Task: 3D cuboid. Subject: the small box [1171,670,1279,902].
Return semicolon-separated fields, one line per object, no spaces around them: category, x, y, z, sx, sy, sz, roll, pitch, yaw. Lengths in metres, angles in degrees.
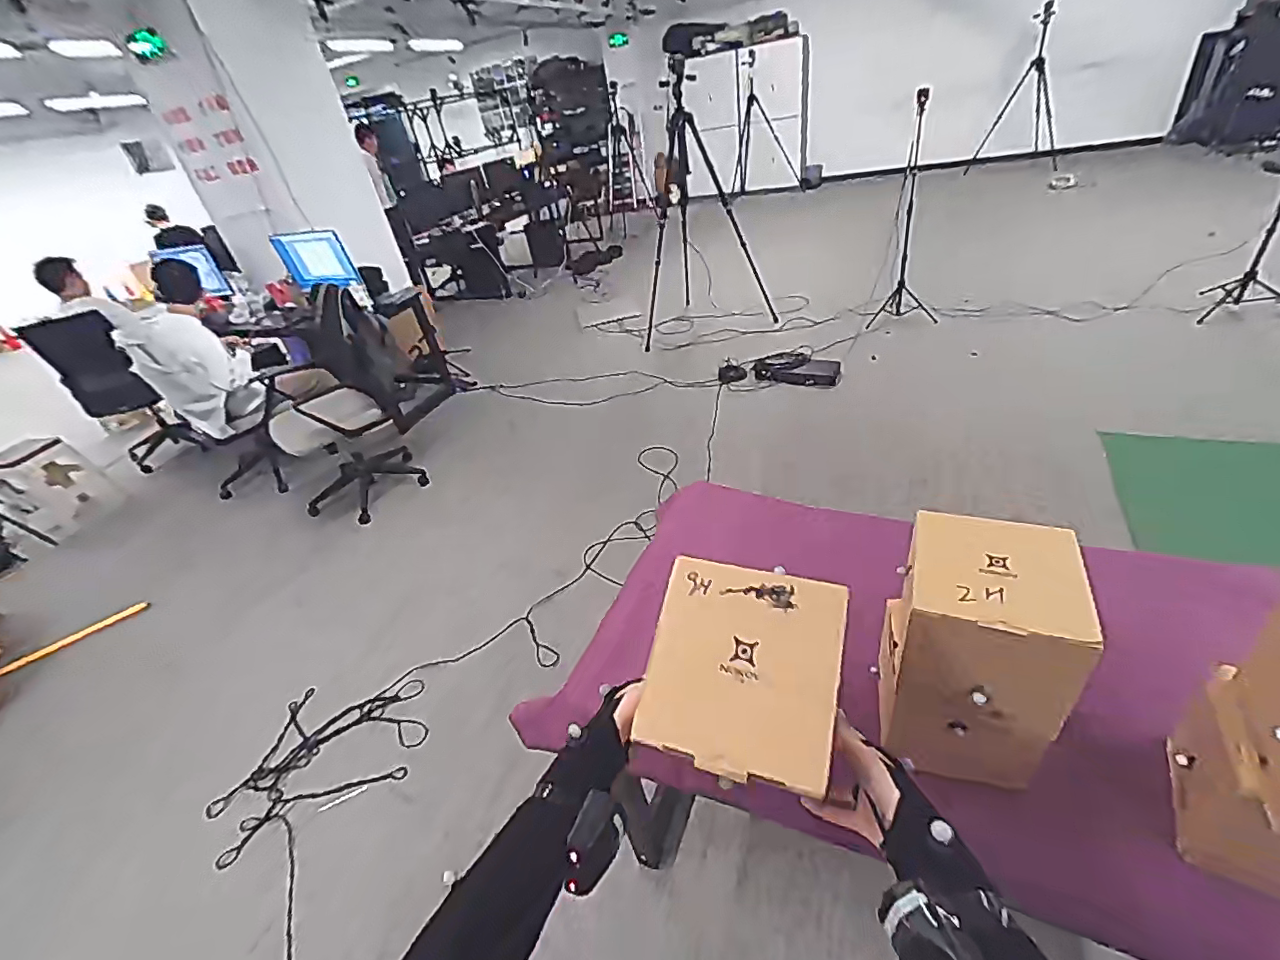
small box;0.723;0.347;0.581;0.179;0.176;0.168;13;40;33

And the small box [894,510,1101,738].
small box;0.404;0.163;0.642;0.168;0.176;0.179;8;39;25

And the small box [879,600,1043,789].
small box;0.430;0.291;0.743;0.179;0.176;0.168;3;37;19

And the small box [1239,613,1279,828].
small box;0.683;0.232;0.470;0.179;0.176;0.168;9;39;28
